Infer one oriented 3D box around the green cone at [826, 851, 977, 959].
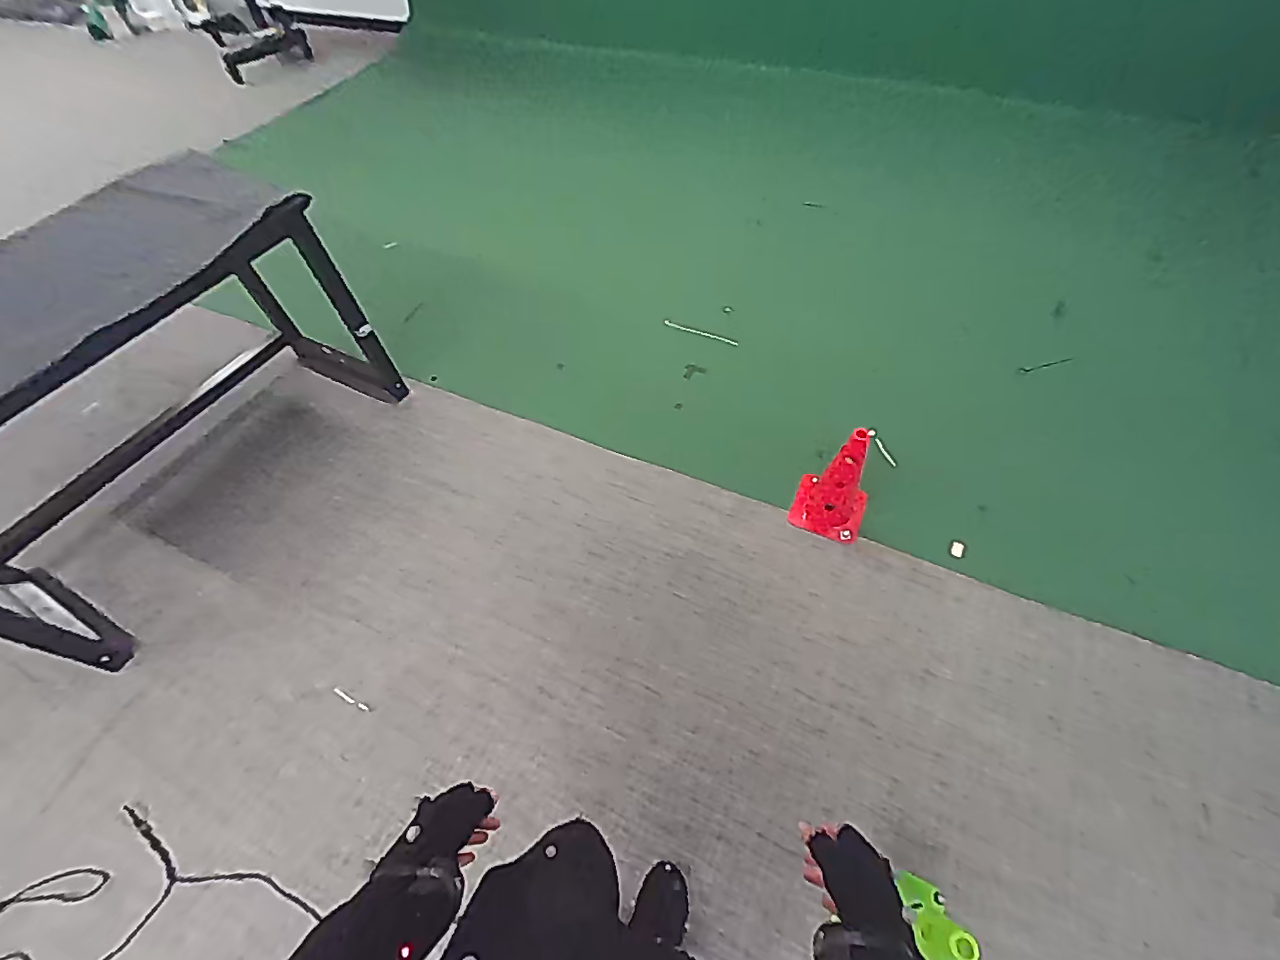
[{"bbox_3d":[0.480,0.795,0.938,0.200,0.368,0.202,19,59,16],"label":"green cone"}]
